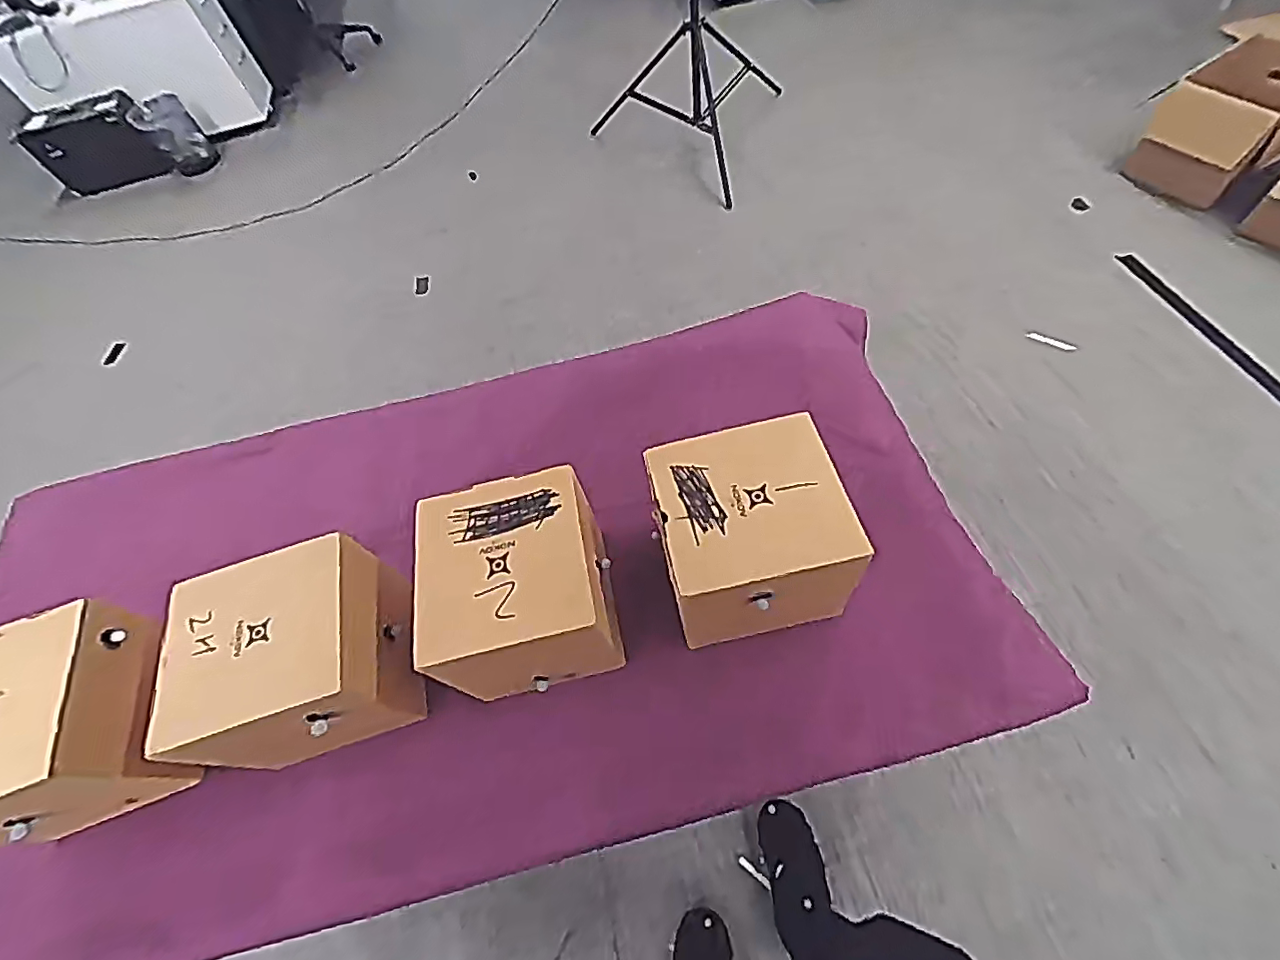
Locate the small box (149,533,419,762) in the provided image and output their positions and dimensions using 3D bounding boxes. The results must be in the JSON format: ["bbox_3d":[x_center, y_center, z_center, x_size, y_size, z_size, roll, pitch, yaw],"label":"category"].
[{"bbox_3d":[-0.352,0.185,0.577,0.179,0.176,0.168,-18,58,-2],"label":"small box"}]

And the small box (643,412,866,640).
[{"bbox_3d":[0.111,0.058,0.579,0.179,0.176,0.168,-13,57,0],"label":"small box"}]

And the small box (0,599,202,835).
[{"bbox_3d":[-0.599,0.256,0.574,0.168,0.176,0.179,-21,58,-4],"label":"small box"}]
